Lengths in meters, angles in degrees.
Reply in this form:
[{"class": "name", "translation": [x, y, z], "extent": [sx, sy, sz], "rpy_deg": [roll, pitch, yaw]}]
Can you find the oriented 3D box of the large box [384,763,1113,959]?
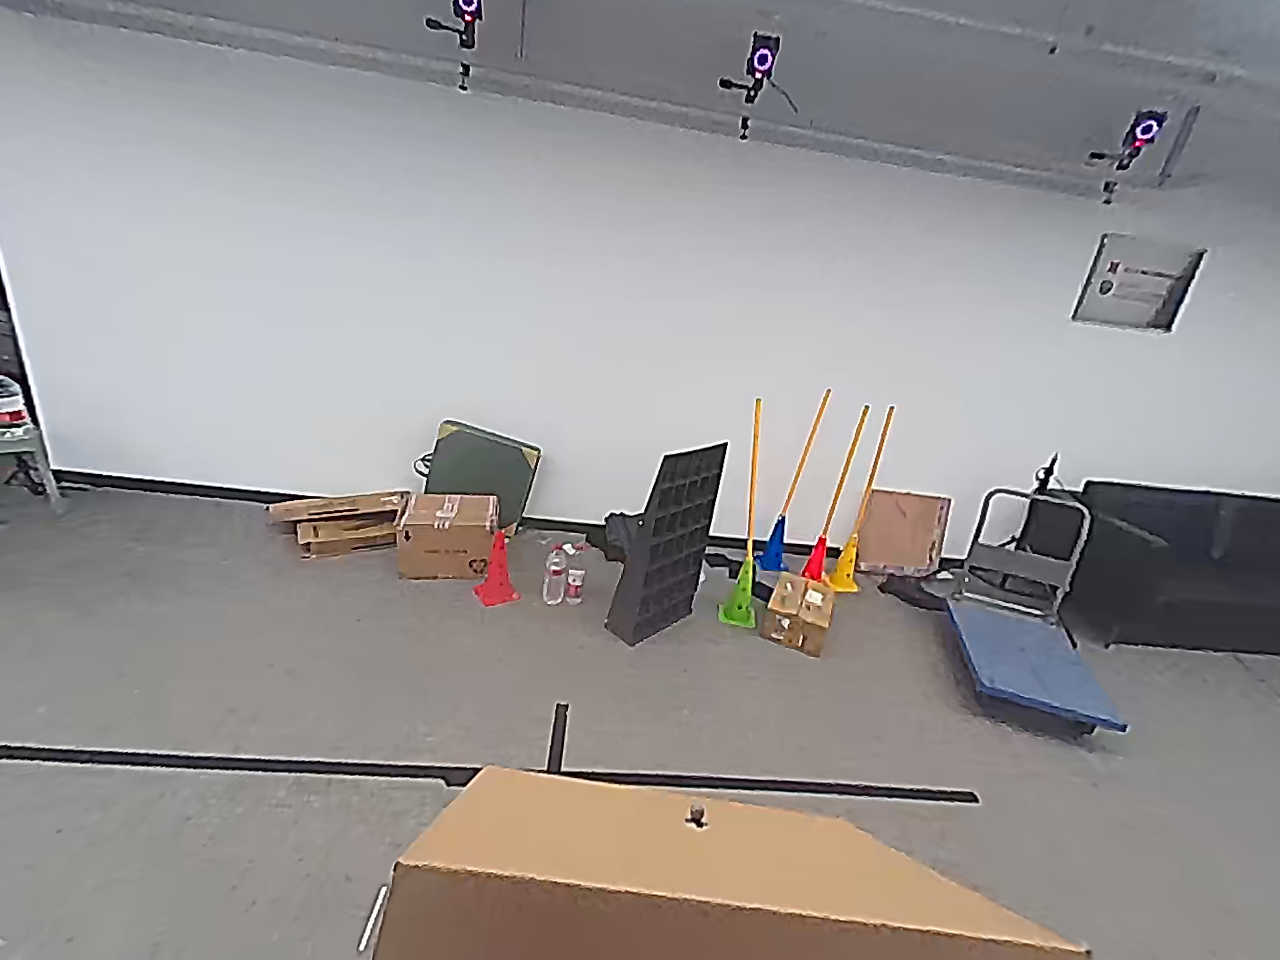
[{"class": "large box", "translation": [0.037, 0.411, 0.386], "extent": [0.408, 0.320, 0.320], "rpy_deg": [10, -19, -4]}]
